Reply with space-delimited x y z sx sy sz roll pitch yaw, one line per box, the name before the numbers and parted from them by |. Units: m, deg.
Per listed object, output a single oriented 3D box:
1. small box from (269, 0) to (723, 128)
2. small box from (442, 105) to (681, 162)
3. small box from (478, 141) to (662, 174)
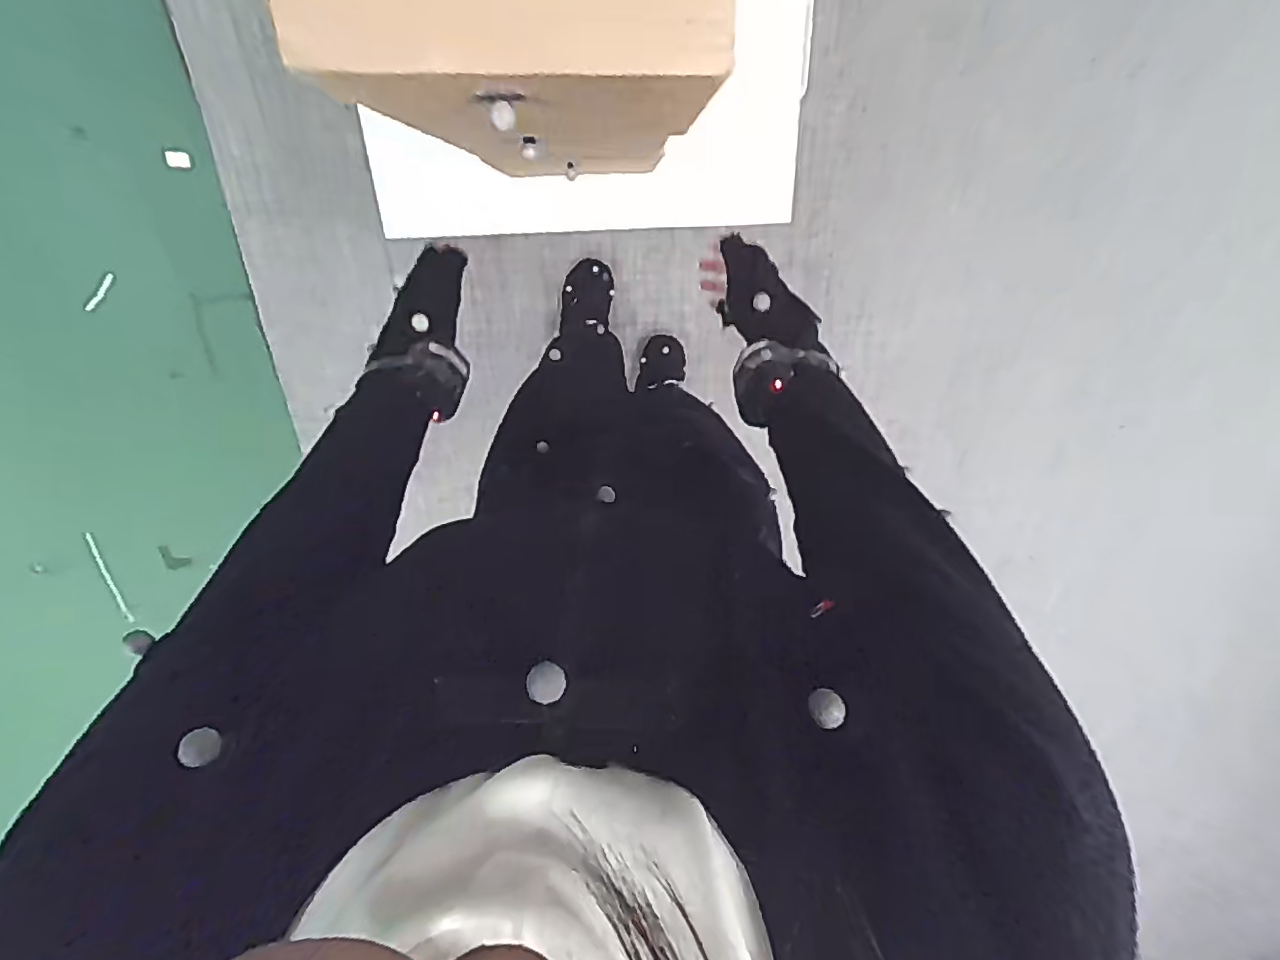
small box | -0.055 -0.274 0.253 0.179 0.176 0.168 -1 115 -2
small box | -0.061 -0.350 0.401 0.168 0.176 0.179 -4 116 0
small box | -0.069 -0.414 0.549 0.179 0.176 0.168 -3 115 -1
